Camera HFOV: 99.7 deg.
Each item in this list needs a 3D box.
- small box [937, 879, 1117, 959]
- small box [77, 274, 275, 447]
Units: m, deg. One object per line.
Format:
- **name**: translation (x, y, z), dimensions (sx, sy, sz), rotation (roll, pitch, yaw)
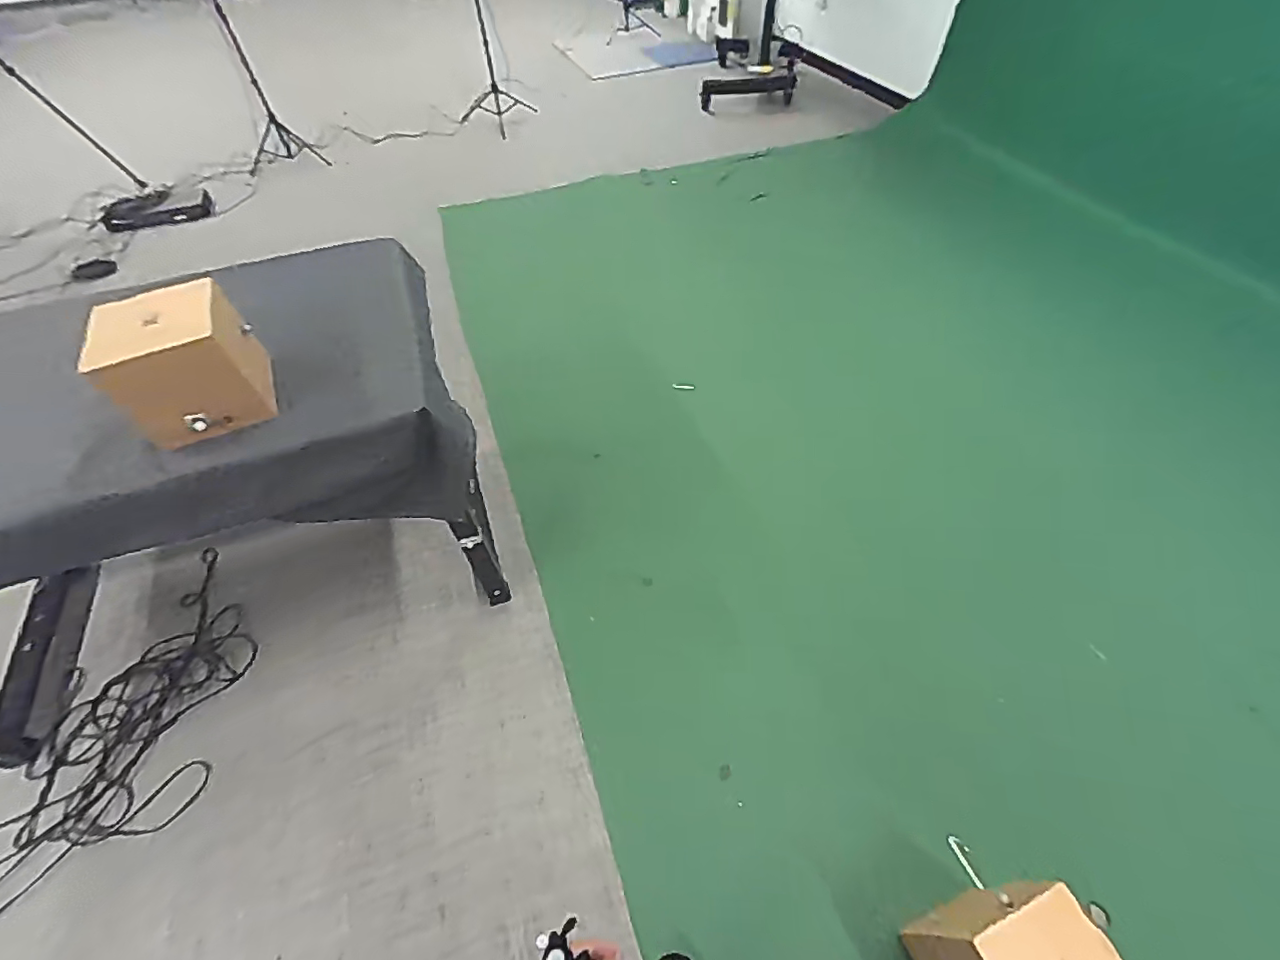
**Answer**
- **small box**: translation (0.578, 0.731, 0.803), dimensions (0.179, 0.176, 0.168), rotation (-19, 53, -13)
- **small box**: translation (-0.703, -0.184, 0.840), dimensions (0.168, 0.176, 0.179), rotation (-24, 55, -15)
